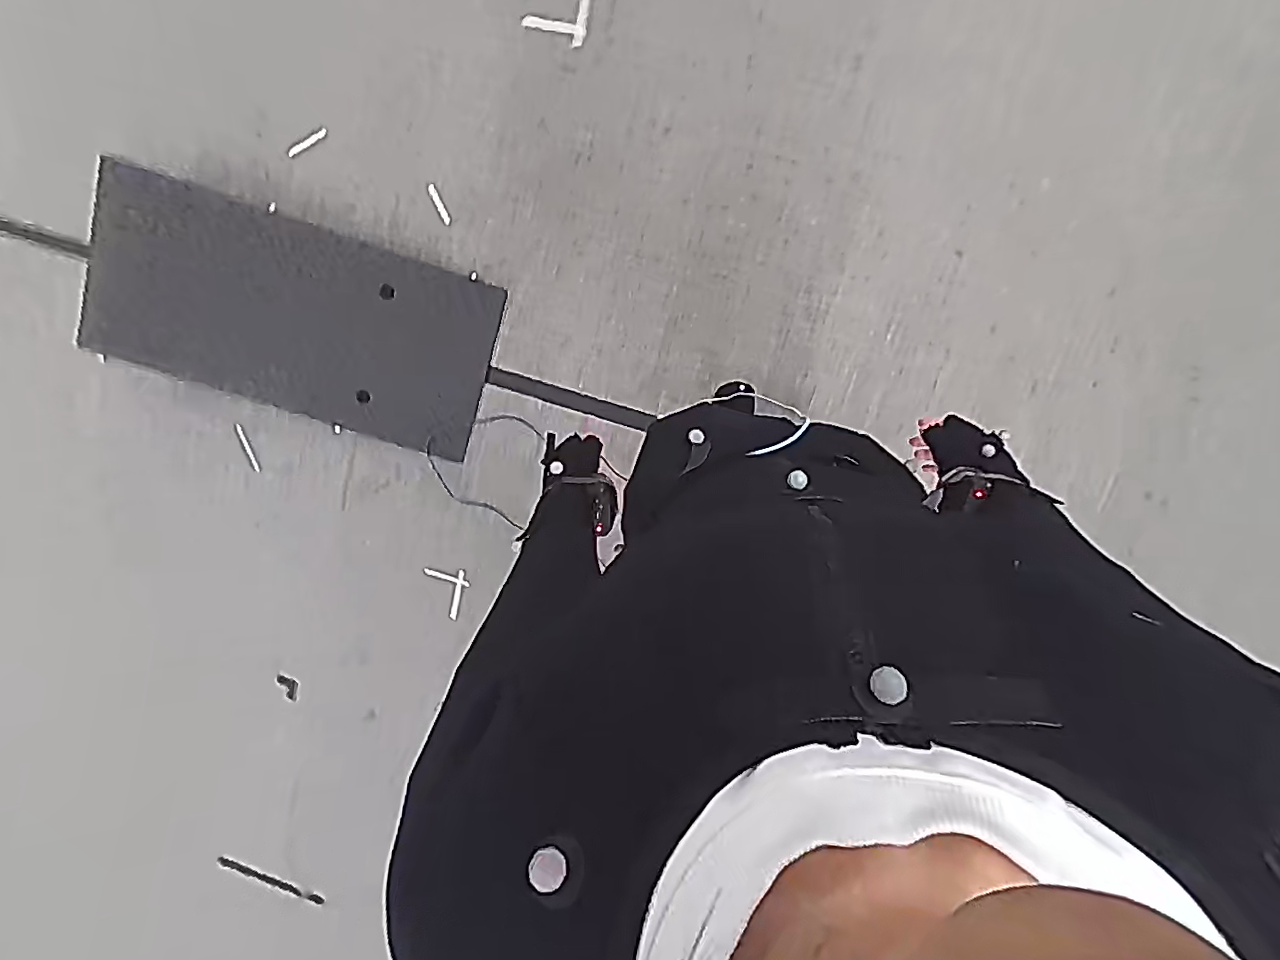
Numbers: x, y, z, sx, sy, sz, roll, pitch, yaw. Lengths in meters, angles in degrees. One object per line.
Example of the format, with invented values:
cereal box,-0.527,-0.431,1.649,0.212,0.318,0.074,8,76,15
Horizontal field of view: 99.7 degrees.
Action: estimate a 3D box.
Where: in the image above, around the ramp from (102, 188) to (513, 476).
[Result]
ramp,-0.883,-0.376,1.451,0.991,0.206,0.509,16,98,4
